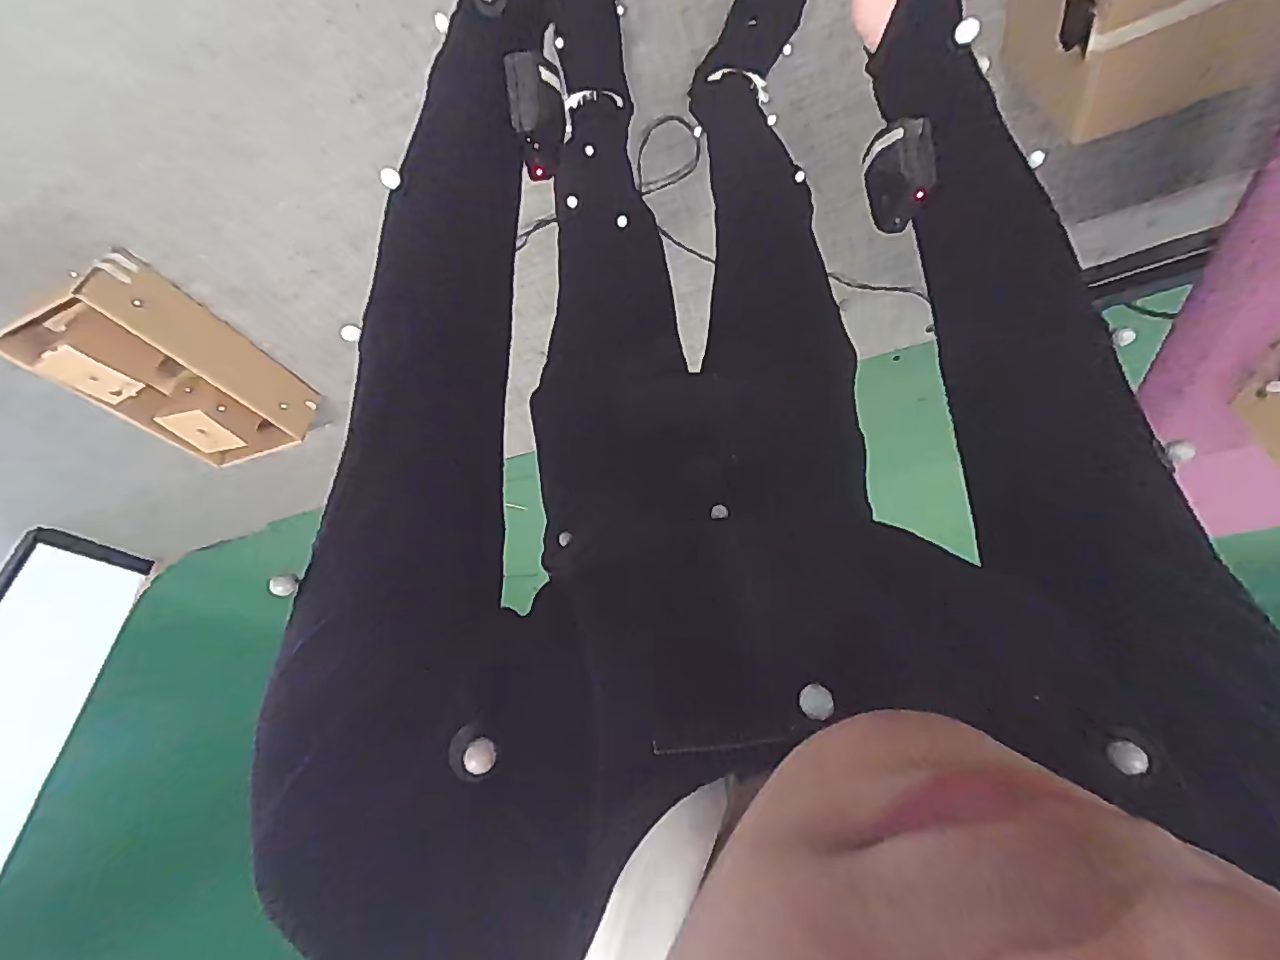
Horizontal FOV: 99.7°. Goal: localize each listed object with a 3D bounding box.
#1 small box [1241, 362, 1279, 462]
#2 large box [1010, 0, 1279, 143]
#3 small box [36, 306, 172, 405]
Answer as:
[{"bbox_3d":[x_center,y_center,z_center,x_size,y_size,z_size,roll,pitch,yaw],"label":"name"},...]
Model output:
[{"bbox_3d":[0.871,-0.084,0.610,0.179,0.176,0.168,-13,145,18],"label":"small box"},{"bbox_3d":[0.810,-0.777,0.754,0.408,0.320,0.320,-15,146,19],"label":"large box"},{"bbox_3d":[-1.419,-0.336,1.443,0.168,0.176,0.179,-16,145,22],"label":"small box"}]
